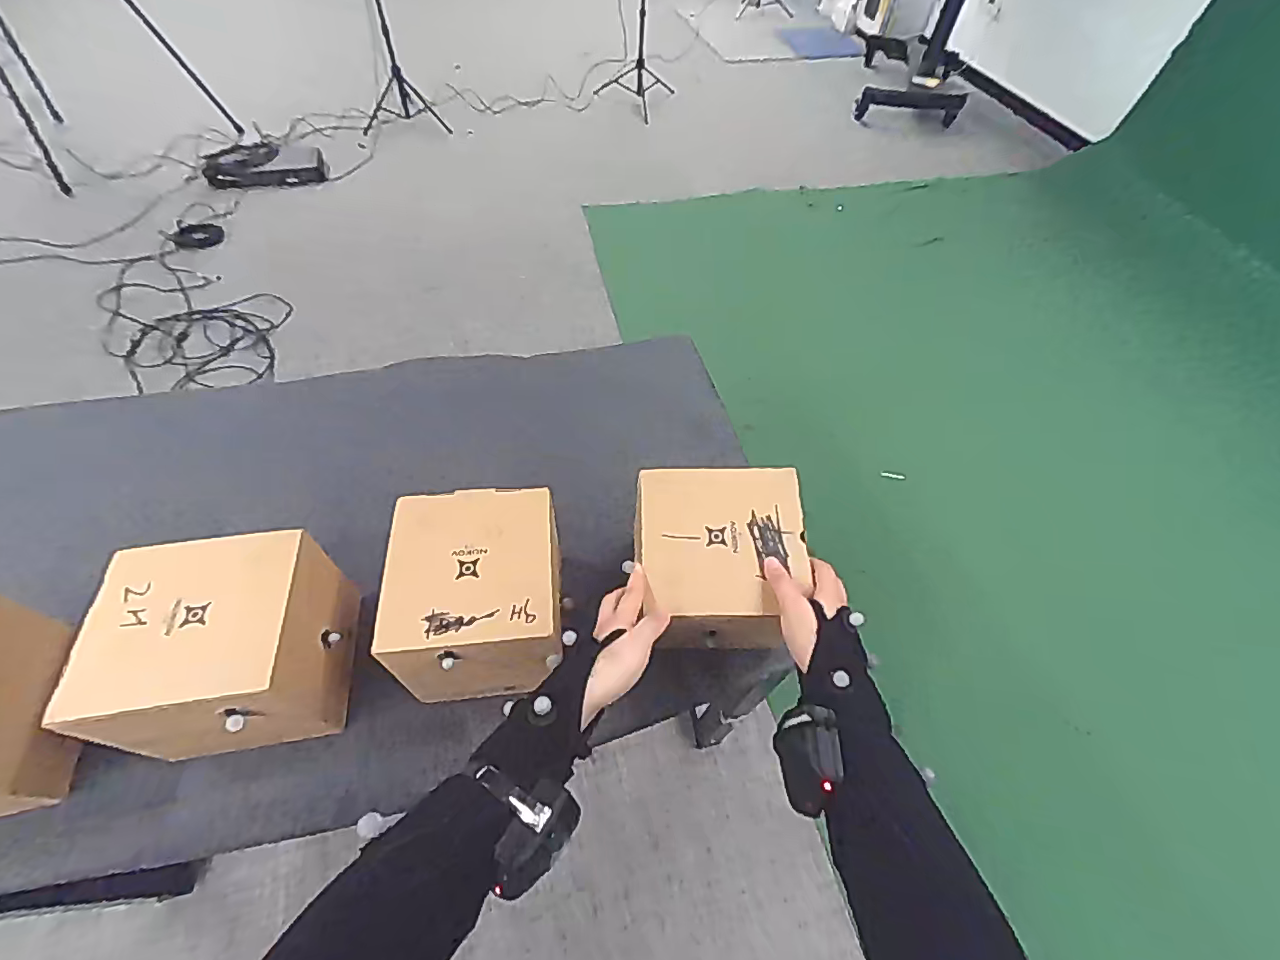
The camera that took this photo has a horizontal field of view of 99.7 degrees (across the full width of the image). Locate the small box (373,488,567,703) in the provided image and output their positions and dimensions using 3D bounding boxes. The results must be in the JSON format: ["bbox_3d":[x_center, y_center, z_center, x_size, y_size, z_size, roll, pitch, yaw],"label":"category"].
[{"bbox_3d":[-0.172,0.131,0.607,0.168,0.176,0.179,-4,53,-5],"label":"small box"}]

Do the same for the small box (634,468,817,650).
[{"bbox_3d":[0.084,0.098,0.630,0.179,0.176,0.168,1,62,-2],"label":"small box"}]

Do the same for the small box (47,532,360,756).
[{"bbox_3d":[-0.417,0.174,0.563,0.179,0.176,0.168,-7,54,-7],"label":"small box"}]
